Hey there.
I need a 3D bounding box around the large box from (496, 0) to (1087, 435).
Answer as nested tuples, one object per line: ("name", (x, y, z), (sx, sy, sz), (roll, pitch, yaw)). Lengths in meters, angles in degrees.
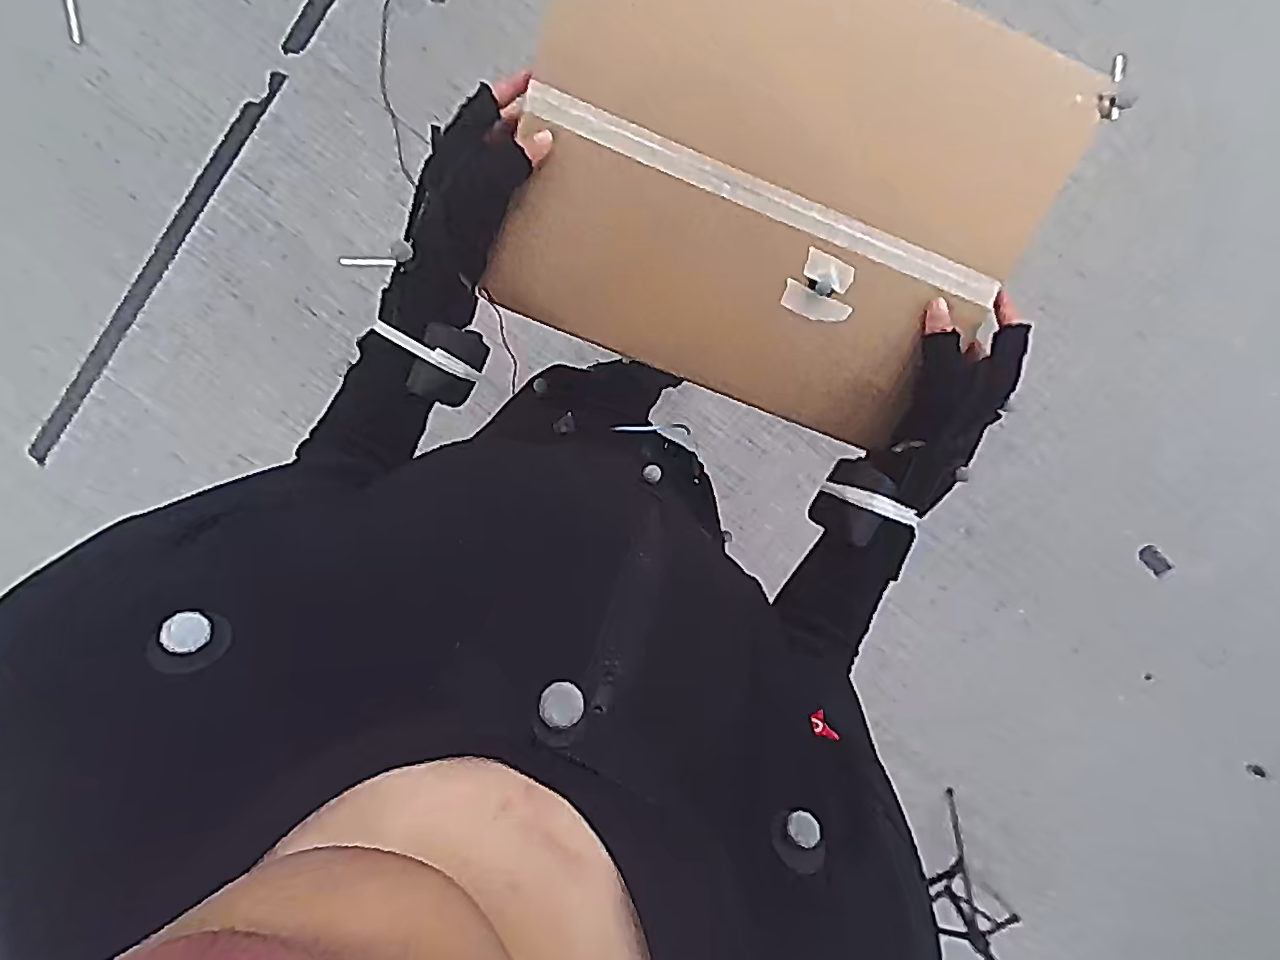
("large box", (0.109, -0.293, 0.583), (0.408, 0.320, 0.320), (20, 113, -6))
